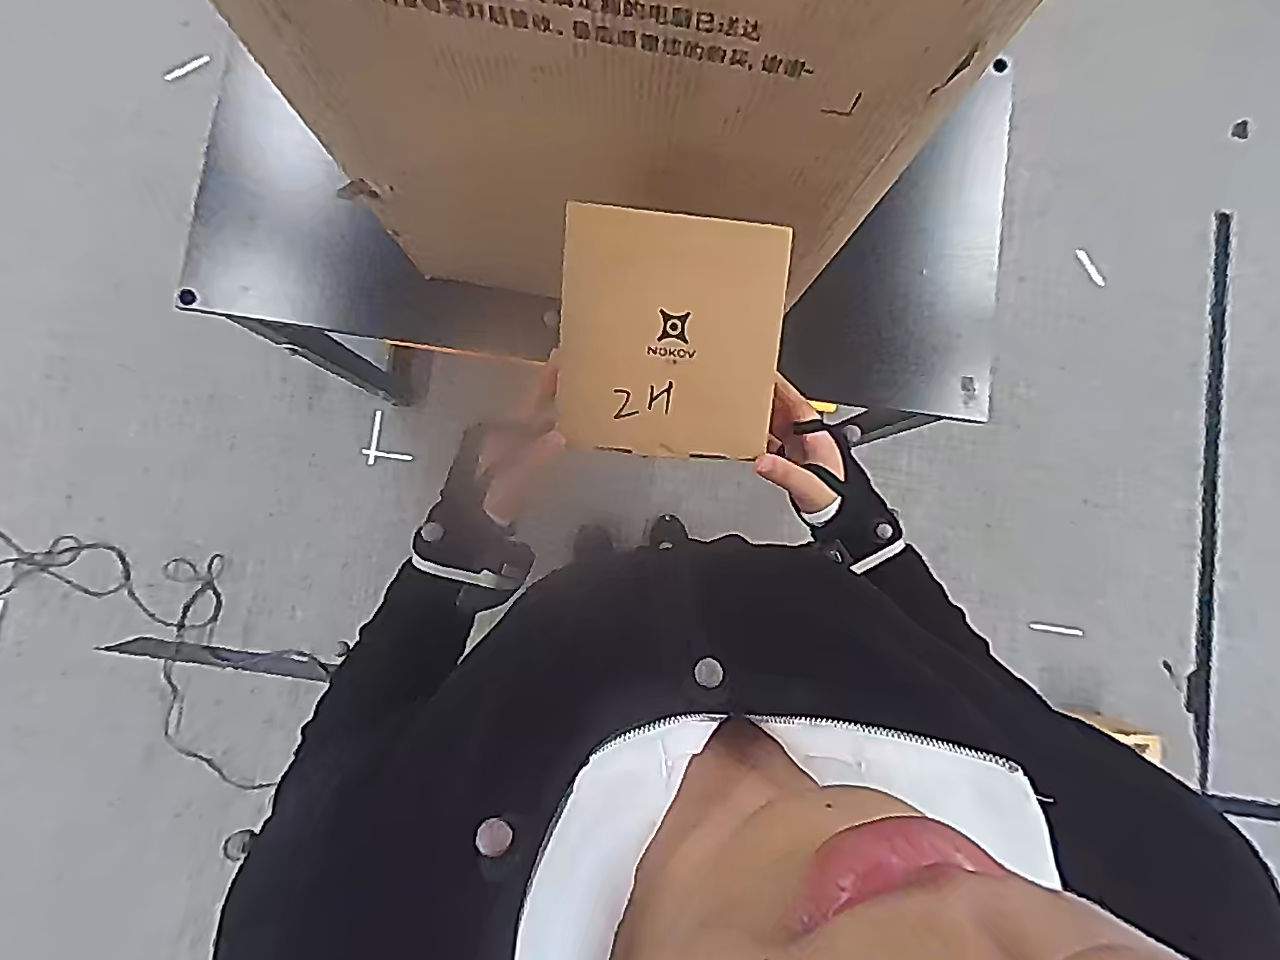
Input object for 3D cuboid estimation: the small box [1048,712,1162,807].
[{"bbox_3d":[1.226,0.733,1.436,0.168,0.176,0.179,4,86,-2],"label":"small box"}]
